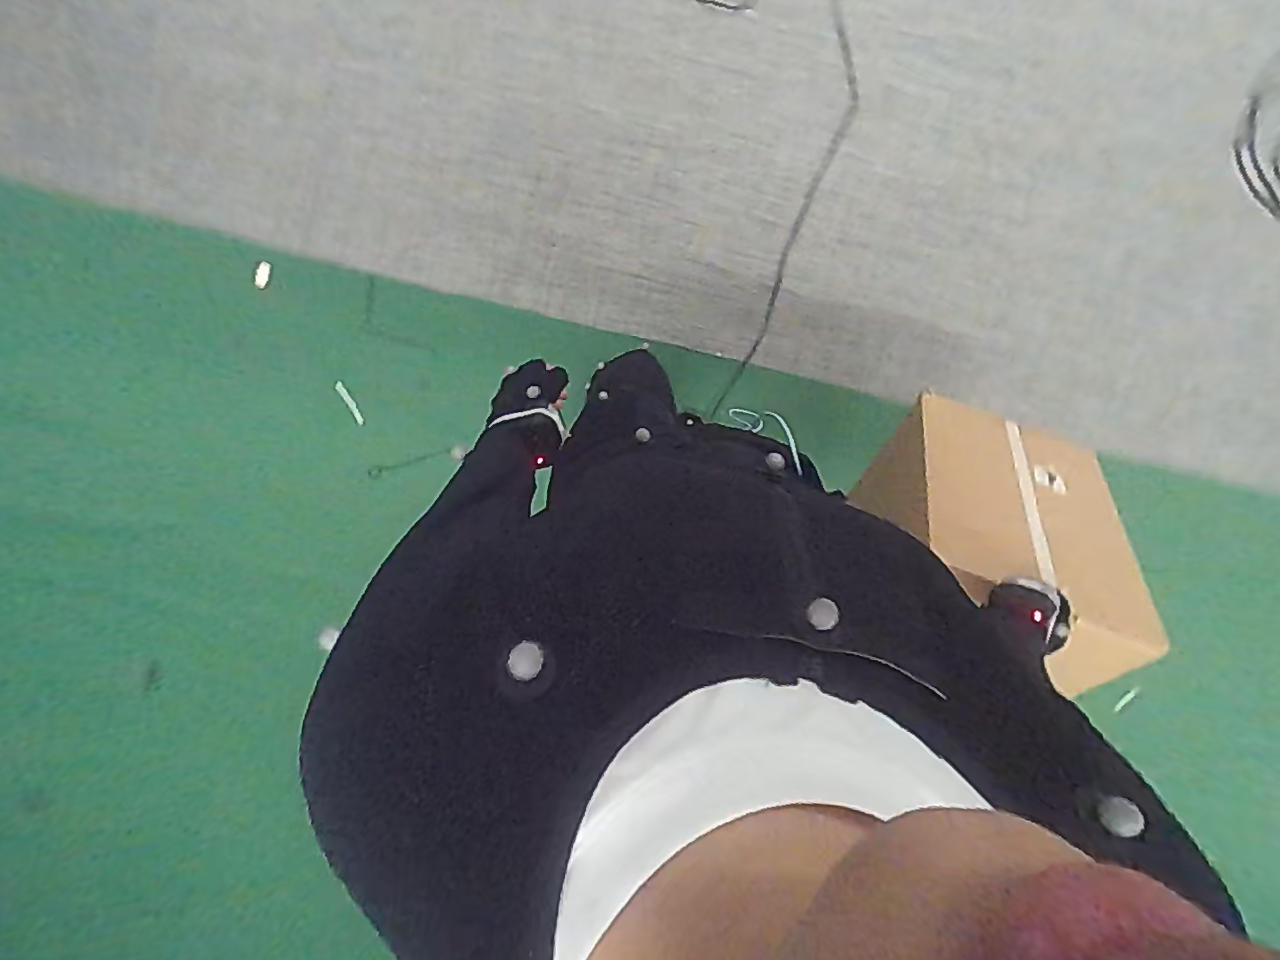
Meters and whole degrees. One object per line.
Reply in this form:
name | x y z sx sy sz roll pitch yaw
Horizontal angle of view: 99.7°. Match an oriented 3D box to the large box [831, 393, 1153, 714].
large box | 0.557 0.122 0.953 0.320 0.408 0.320 22 137 5
